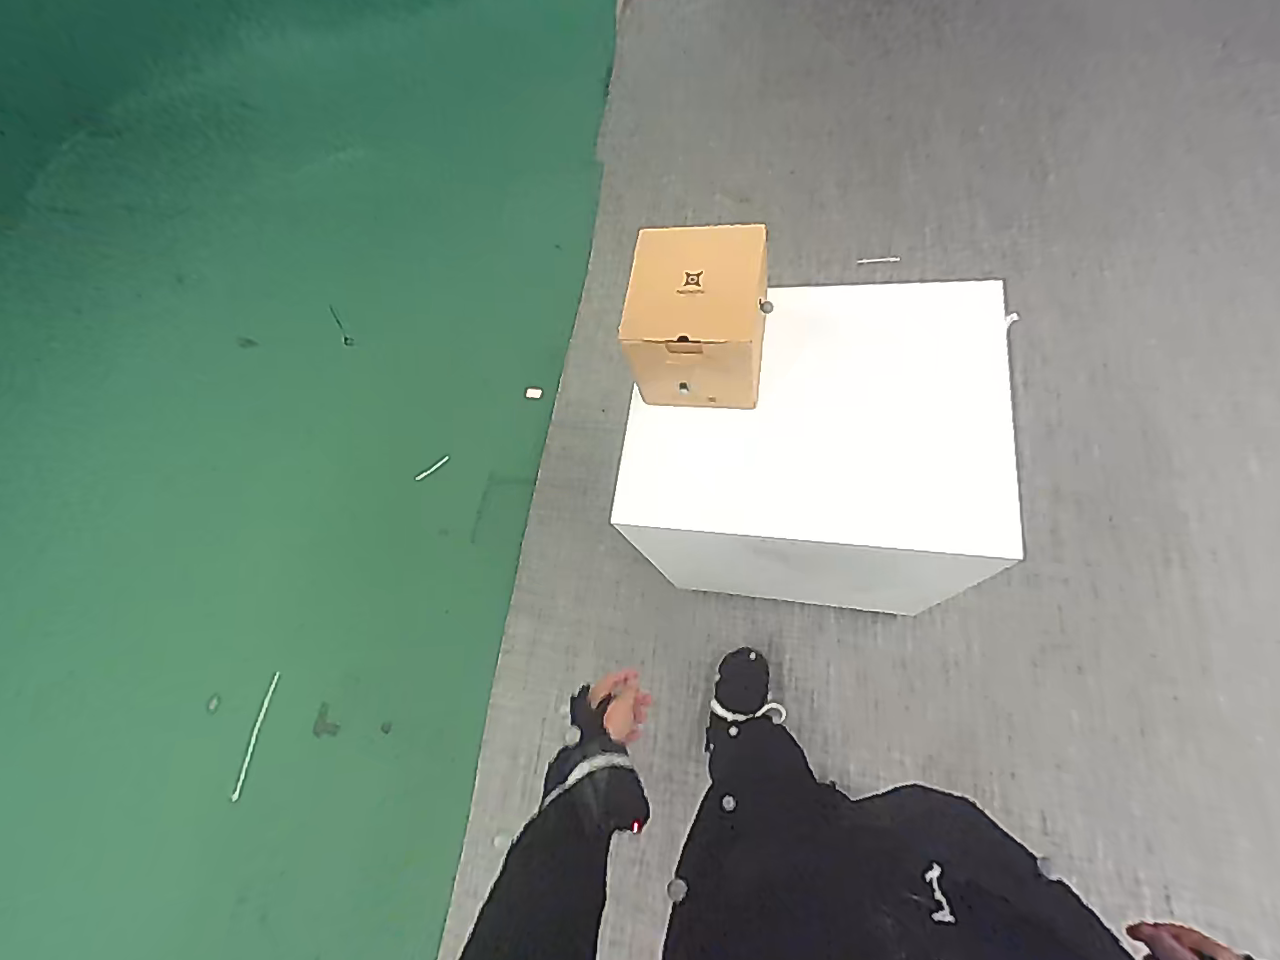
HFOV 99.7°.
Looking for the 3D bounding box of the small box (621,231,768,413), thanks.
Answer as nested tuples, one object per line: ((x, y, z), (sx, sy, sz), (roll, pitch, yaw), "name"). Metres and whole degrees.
((0.084, -0.212, 0.744), (0.168, 0.176, 0.179), (5, 71, 15), "small box")
